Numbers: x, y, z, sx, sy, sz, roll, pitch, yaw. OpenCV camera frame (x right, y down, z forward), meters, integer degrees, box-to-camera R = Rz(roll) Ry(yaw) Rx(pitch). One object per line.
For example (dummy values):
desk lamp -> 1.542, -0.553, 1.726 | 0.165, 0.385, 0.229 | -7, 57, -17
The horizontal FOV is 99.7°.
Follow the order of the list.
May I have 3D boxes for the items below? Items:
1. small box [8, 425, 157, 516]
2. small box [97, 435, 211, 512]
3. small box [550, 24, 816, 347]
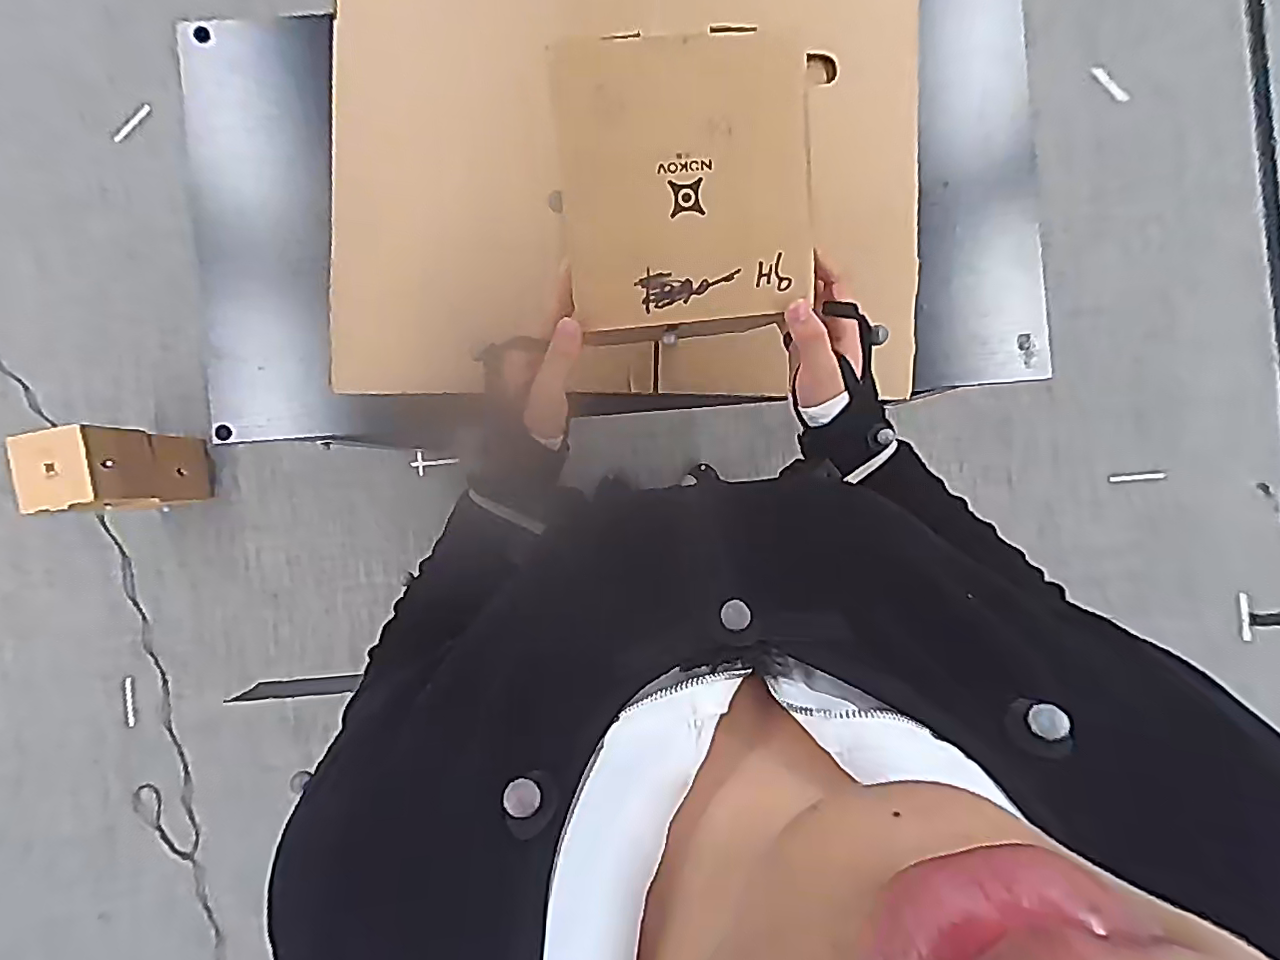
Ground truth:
small box -> -1.283, -0.021, 1.260 | 0.168, 0.176, 0.179 | -12, 89, -1
small box -> -1.281, -0.016, 1.422 | 0.168, 0.176, 0.179 | -9, 91, 0
small box -> 0.026, -0.207, 0.428 | 0.168, 0.176, 0.179 | -6, 101, -2
